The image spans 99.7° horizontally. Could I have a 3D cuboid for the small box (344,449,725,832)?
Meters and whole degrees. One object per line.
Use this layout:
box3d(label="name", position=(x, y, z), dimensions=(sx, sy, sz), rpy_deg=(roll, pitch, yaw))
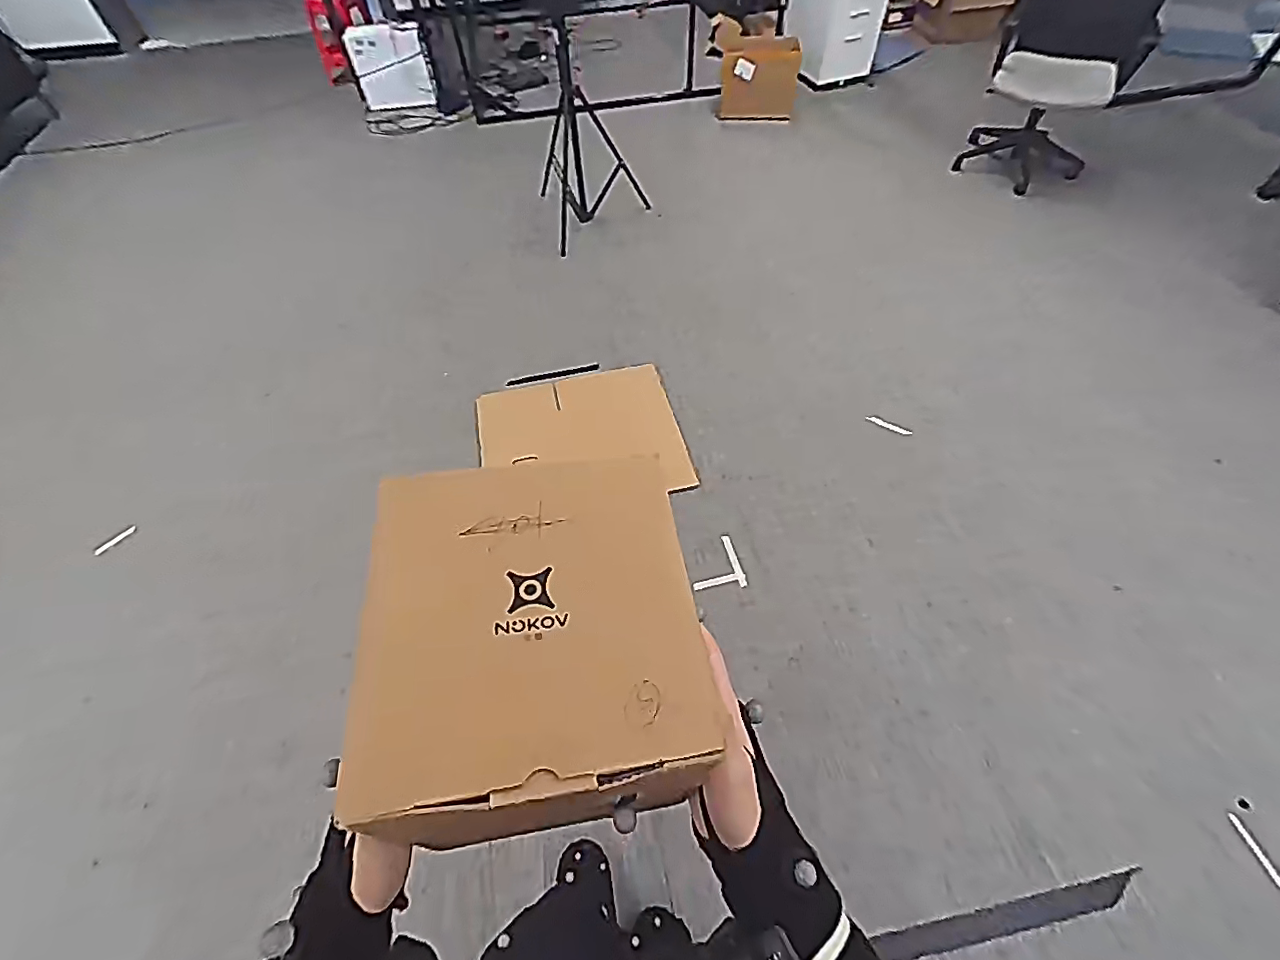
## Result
box3d(label="small box", position=(-0.059, 0.105, 0.340), dimensions=(0.168, 0.176, 0.179), rpy_deg=(-6, 53, -10))
